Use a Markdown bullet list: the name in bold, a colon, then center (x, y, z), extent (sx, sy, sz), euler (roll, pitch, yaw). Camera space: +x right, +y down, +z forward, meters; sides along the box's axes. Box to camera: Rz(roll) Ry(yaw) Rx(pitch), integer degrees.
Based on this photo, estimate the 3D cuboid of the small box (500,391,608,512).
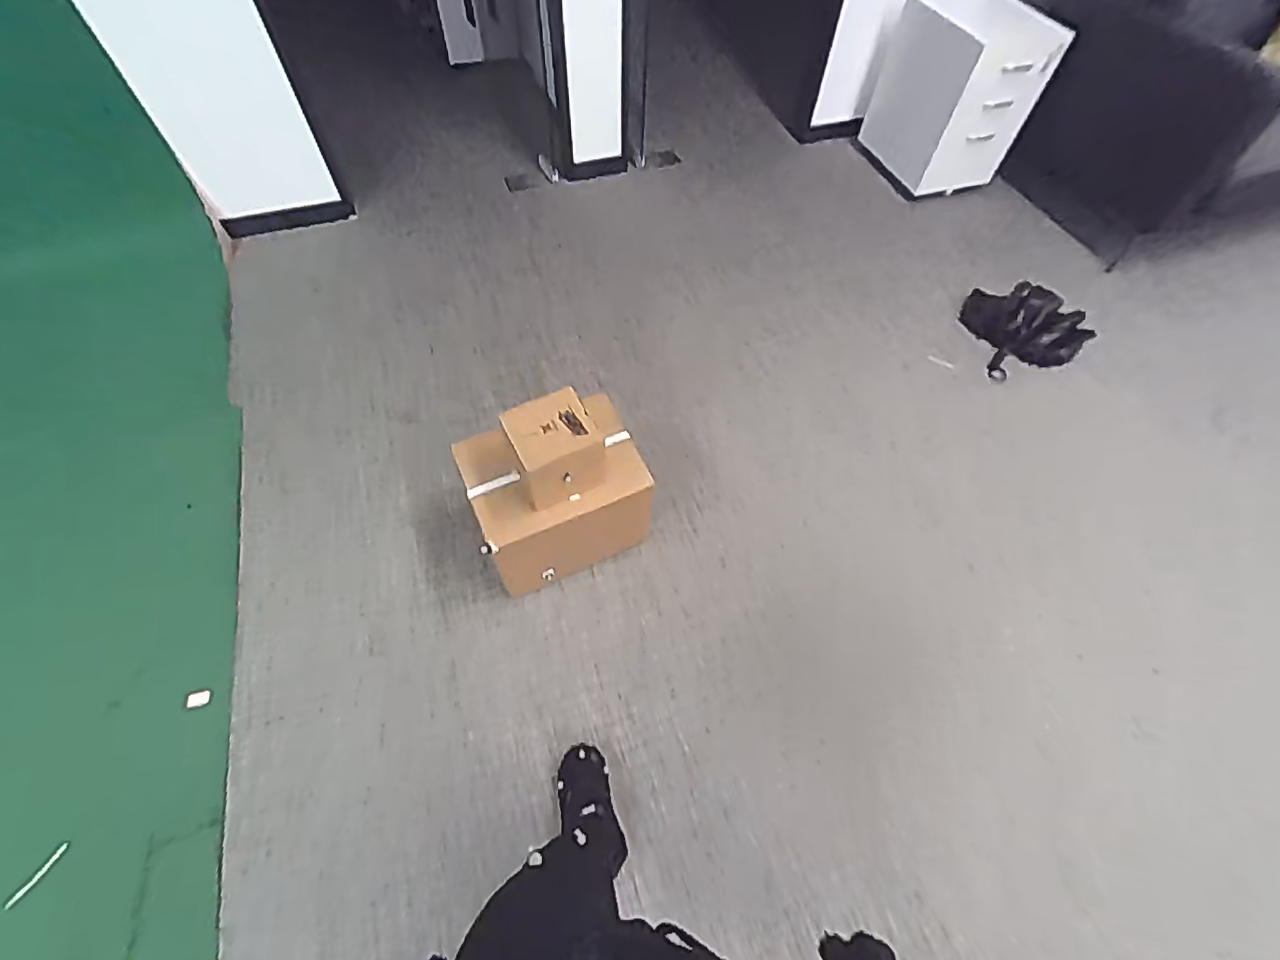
- **small box**: center (-0.187, -0.060, 1.193), extent (0.179, 0.176, 0.168), euler (-26, 63, -19)
